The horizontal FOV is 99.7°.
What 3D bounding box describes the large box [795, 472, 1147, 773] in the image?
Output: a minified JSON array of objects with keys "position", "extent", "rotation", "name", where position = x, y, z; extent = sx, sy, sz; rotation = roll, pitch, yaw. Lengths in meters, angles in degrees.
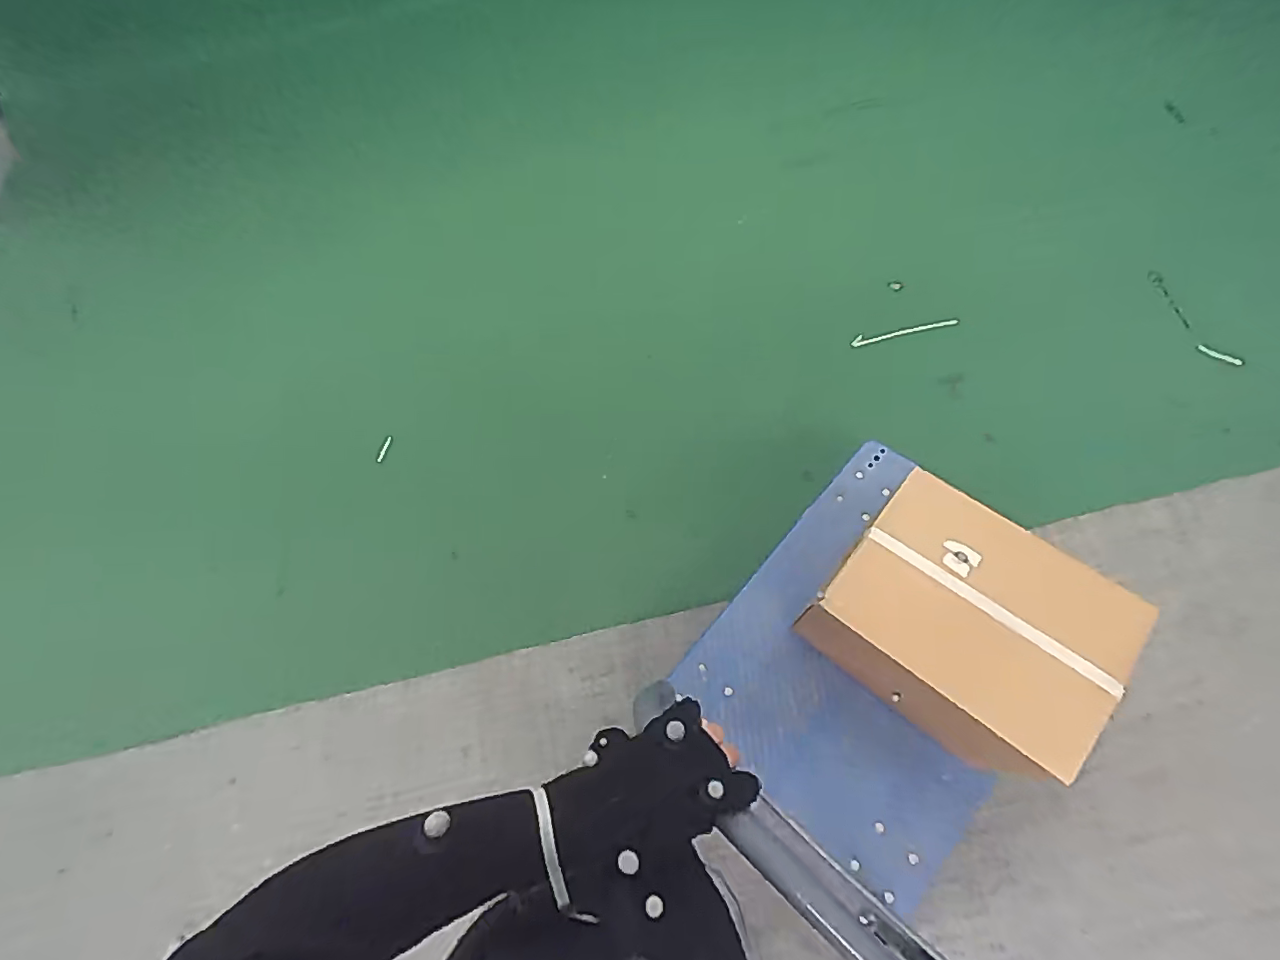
[{"position":[0.557,0.260,0.997],"extent":[0.408,0.320,0.320],"rotation":[35,74,20],"name":"large box"}]
